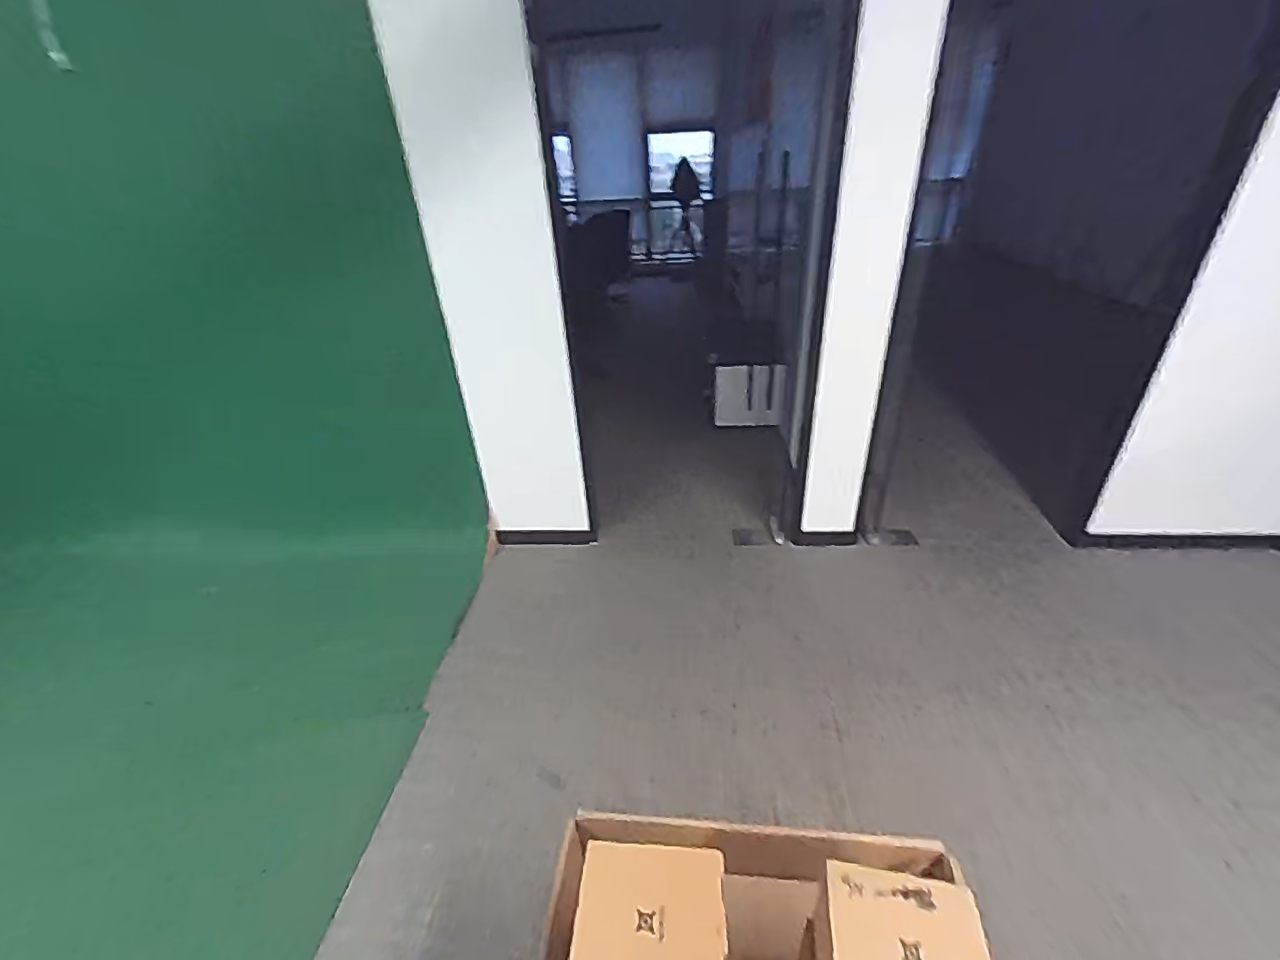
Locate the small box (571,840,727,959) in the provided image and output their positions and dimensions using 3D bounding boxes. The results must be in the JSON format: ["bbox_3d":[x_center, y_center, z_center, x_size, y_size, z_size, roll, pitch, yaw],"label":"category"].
[{"bbox_3d":[0.018,0.582,0.667,0.179,0.176,0.168,1,31,6],"label":"small box"}]

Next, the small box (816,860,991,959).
[{"bbox_3d":[0.297,0.587,0.619,0.168,0.176,0.179,4,32,13],"label":"small box"}]
